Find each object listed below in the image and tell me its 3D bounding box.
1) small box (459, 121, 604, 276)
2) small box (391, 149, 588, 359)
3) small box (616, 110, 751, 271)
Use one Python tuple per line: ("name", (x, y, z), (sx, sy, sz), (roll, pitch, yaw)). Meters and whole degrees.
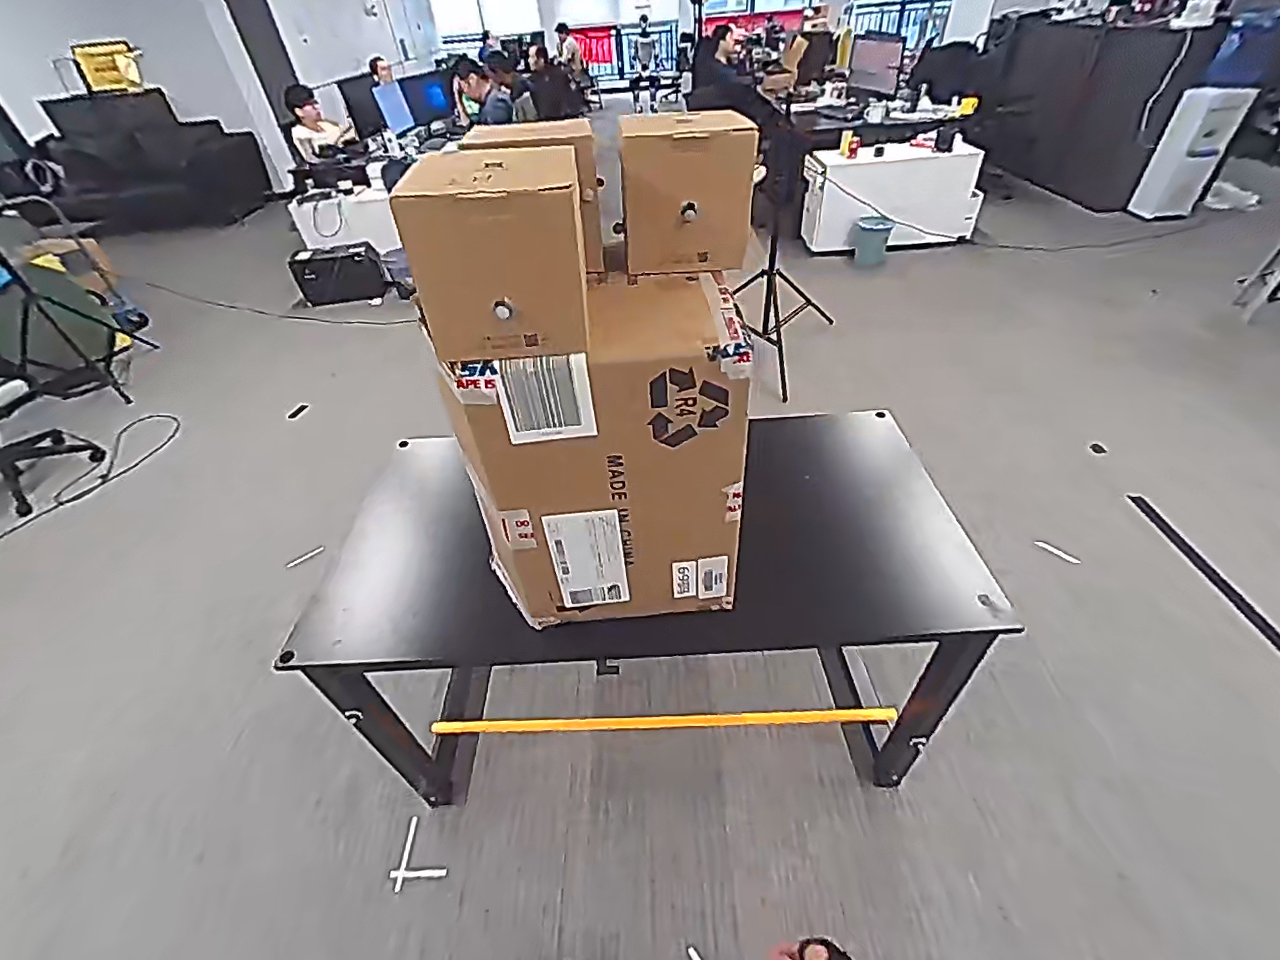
("small box", (-0.145, -0.399, 0.774), (0.168, 0.176, 0.179), (-8, 41, -4))
("small box", (-0.149, -0.253, 0.604), (0.168, 0.176, 0.179), (-5, 43, -2))
("small box", (0.054, -0.406, 0.765), (0.168, 0.176, 0.179), (-3, 42, -2))
